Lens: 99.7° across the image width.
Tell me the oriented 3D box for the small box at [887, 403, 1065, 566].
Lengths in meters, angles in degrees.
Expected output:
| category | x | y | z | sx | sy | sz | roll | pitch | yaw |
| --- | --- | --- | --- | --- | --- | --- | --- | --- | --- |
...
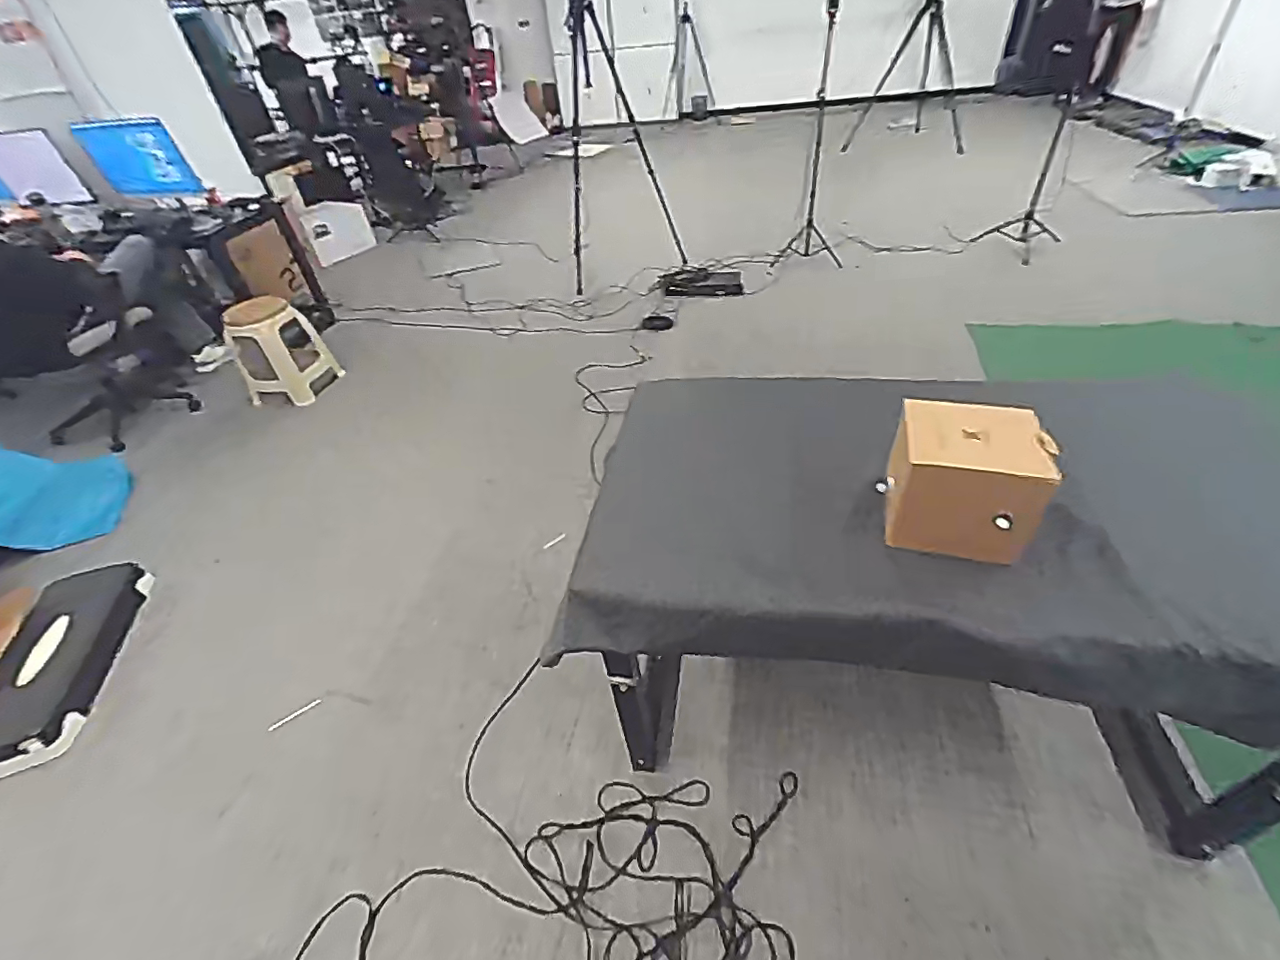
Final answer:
| category | x | y | z | sx | sy | sz | roll | pitch | yaw |
| --- | --- | --- | --- | --- | --- | --- | --- | --- | --- |
| small box | 0.478 | 0.006 | 0.802 | 0.179 | 0.176 | 0.168 | 7 | 41 | 18 |
